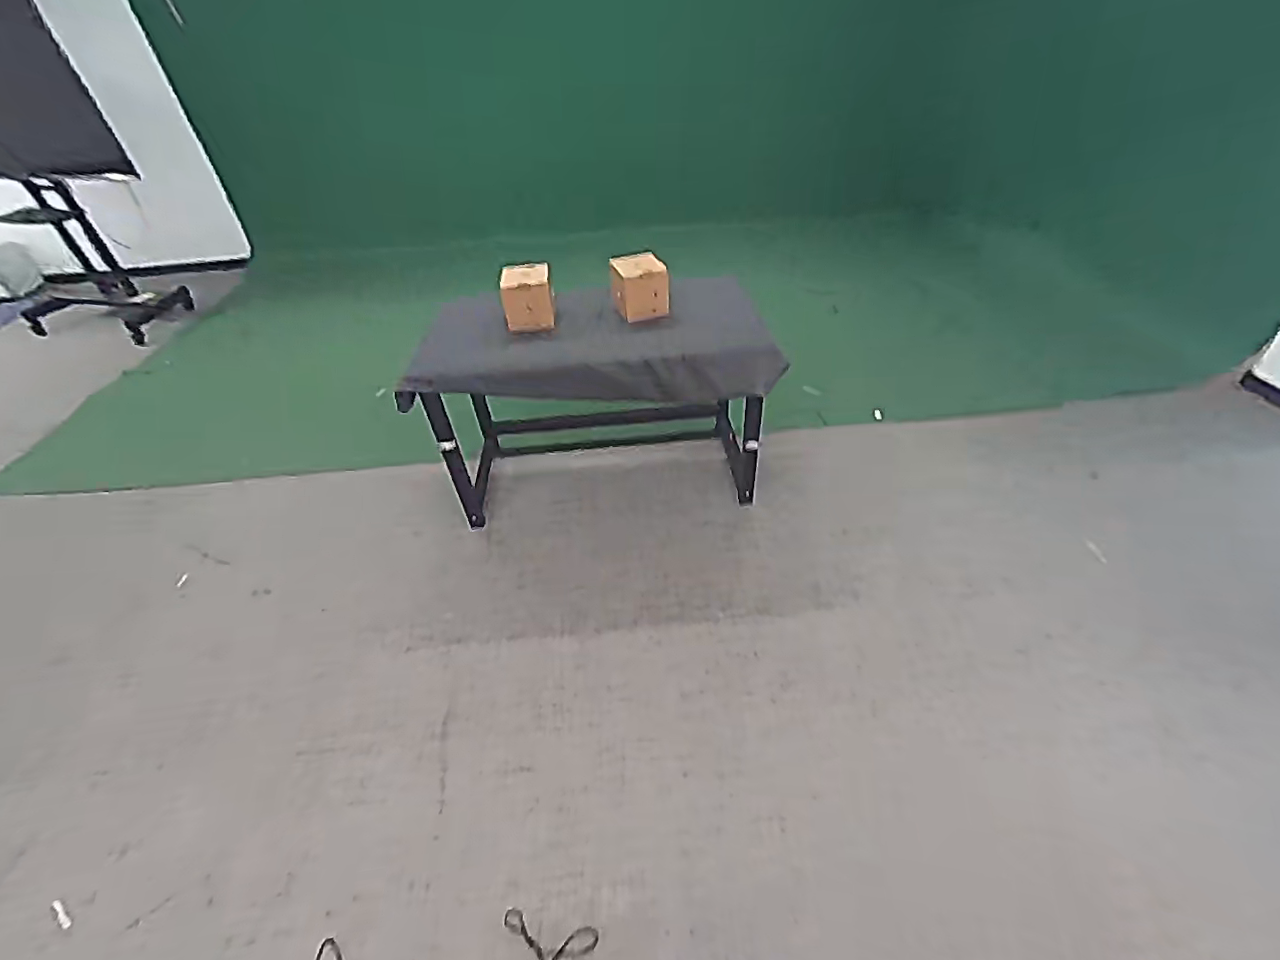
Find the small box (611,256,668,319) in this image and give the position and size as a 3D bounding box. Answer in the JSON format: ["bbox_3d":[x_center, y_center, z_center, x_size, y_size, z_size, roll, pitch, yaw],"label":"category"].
[{"bbox_3d":[-0.001,-0.699,1.978,0.168,0.176,0.179,-12,42,-13],"label":"small box"}]

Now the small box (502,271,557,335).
[{"bbox_3d":[-0.401,-0.640,1.975,0.168,0.176,0.179,-9,41,-4],"label":"small box"}]
